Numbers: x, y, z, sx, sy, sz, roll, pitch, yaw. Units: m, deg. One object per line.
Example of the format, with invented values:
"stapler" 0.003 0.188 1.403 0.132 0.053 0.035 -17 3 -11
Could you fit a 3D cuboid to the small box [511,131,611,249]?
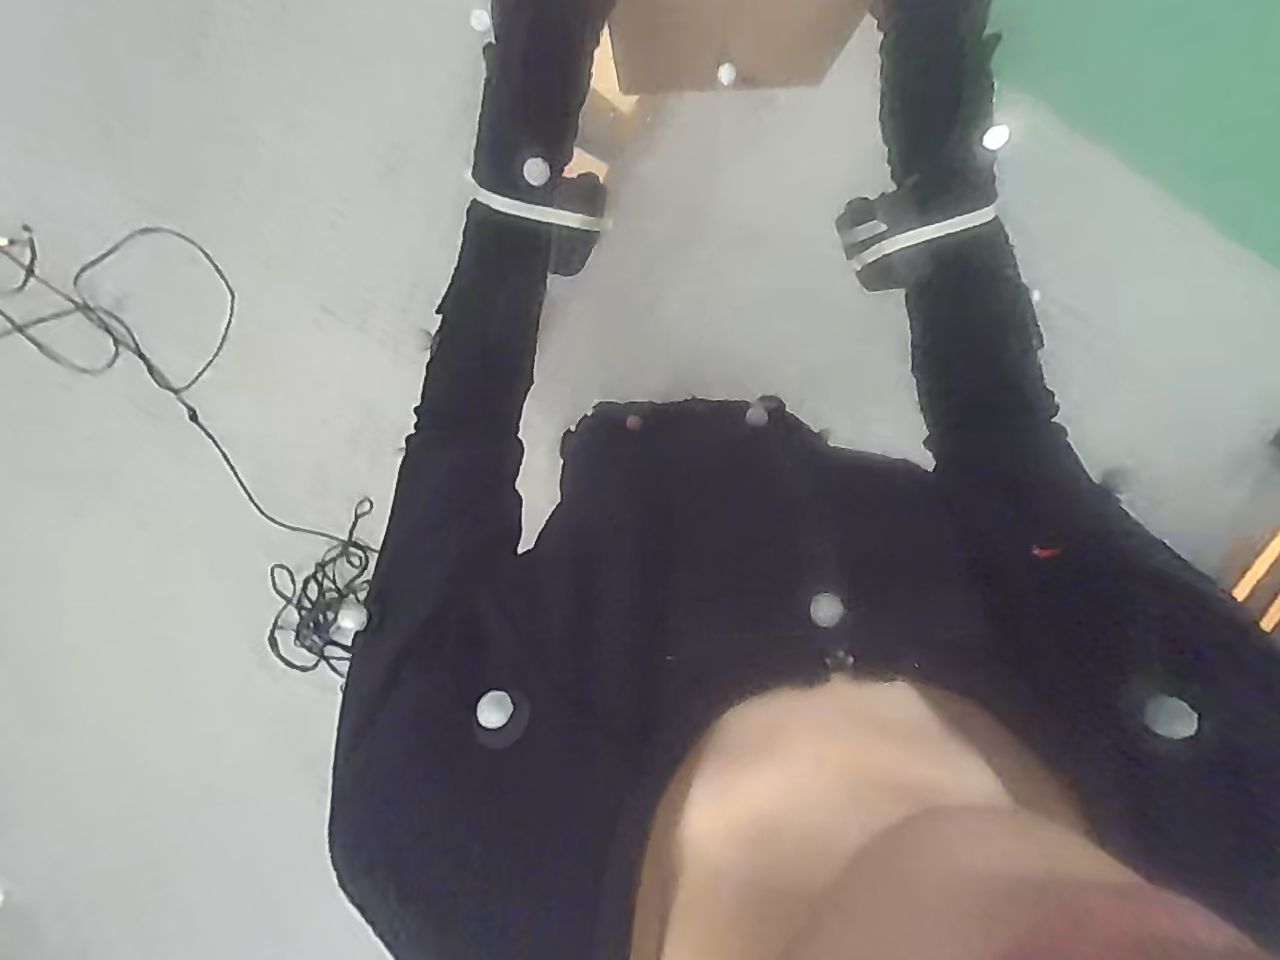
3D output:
"small box" -0.183 -0.686 1.305 0.179 0.176 0.168 27 98 -5
